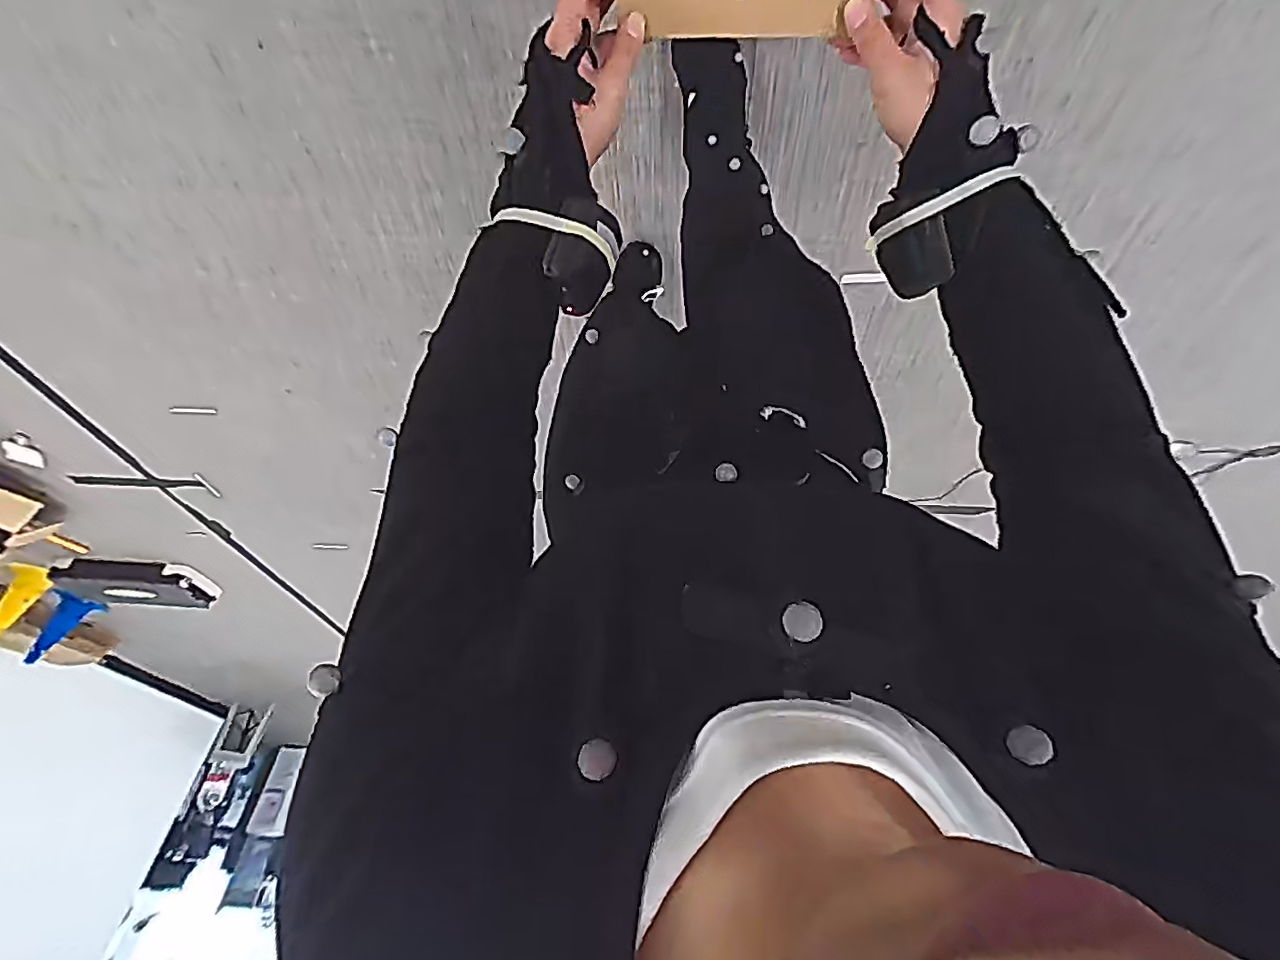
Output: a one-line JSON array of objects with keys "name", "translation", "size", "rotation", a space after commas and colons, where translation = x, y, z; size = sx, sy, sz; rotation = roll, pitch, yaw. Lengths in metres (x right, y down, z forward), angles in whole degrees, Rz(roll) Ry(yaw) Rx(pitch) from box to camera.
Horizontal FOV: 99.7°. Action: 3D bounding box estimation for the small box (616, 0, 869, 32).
[{"name": "small box", "translation": [0.071, -0.417, 0.347], "size": [0.168, 0.176, 0.179], "rotation": [3, 140, 3]}]
